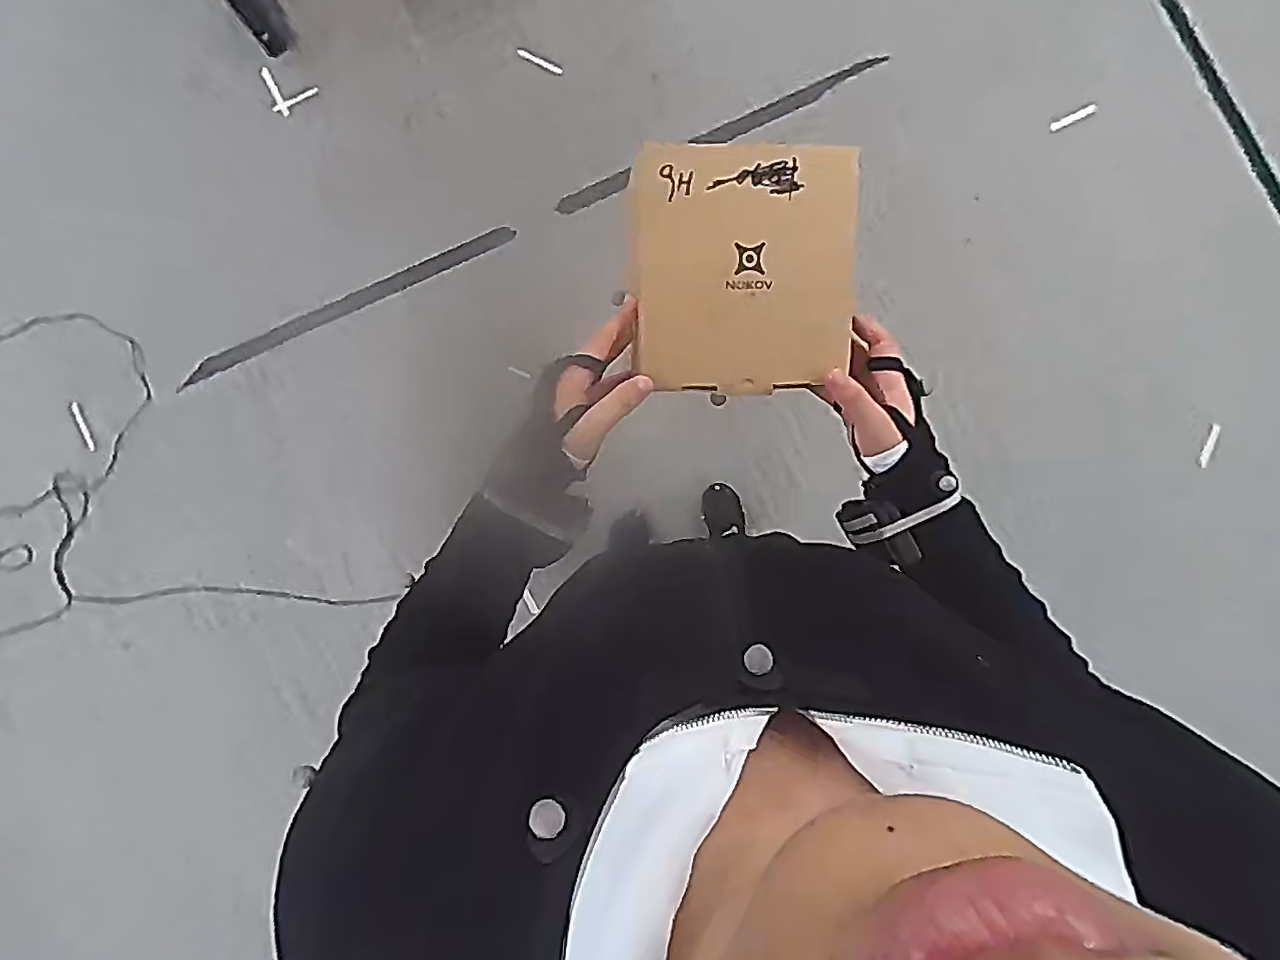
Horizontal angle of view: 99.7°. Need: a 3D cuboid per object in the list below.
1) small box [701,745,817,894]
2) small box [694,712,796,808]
[{"bbox_3d":[0.240,0.700,1.135,0.168,0.176,0.179,-23,89,-2],"label":"small box"},{"bbox_3d":[0.245,0.699,1.300,0.168,0.176,0.179,-27,89,-2],"label":"small box"}]
